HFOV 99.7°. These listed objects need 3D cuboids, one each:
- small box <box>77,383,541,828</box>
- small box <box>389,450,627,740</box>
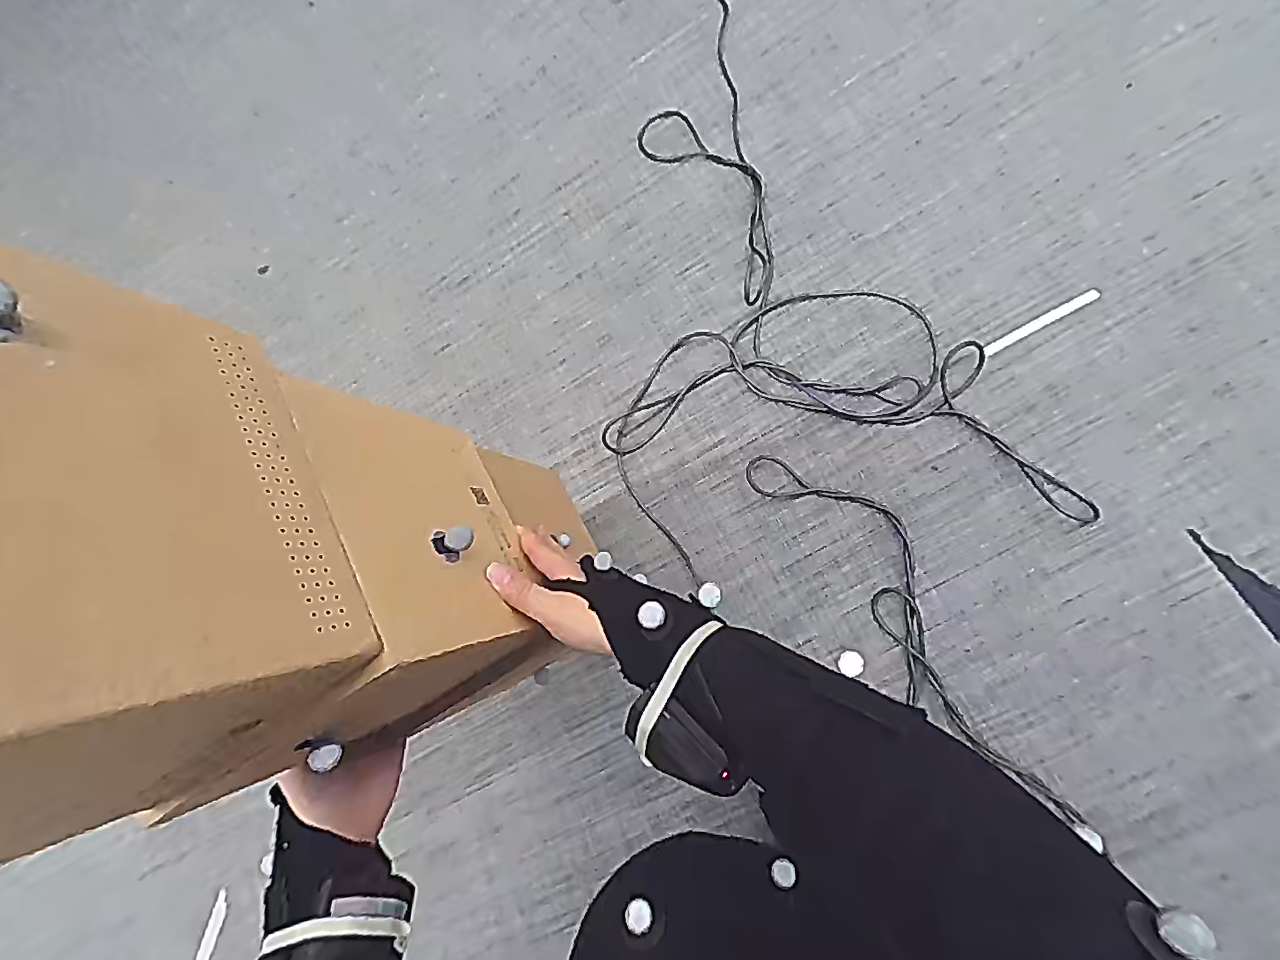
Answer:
[{"bbox_3d":[-0.187,0.069,0.348,0.179,0.176,0.168,-34,75,12],"label":"small box"},{"bbox_3d":[-0.138,0.099,0.501,0.168,0.176,0.179,-33,76,11],"label":"small box"}]
